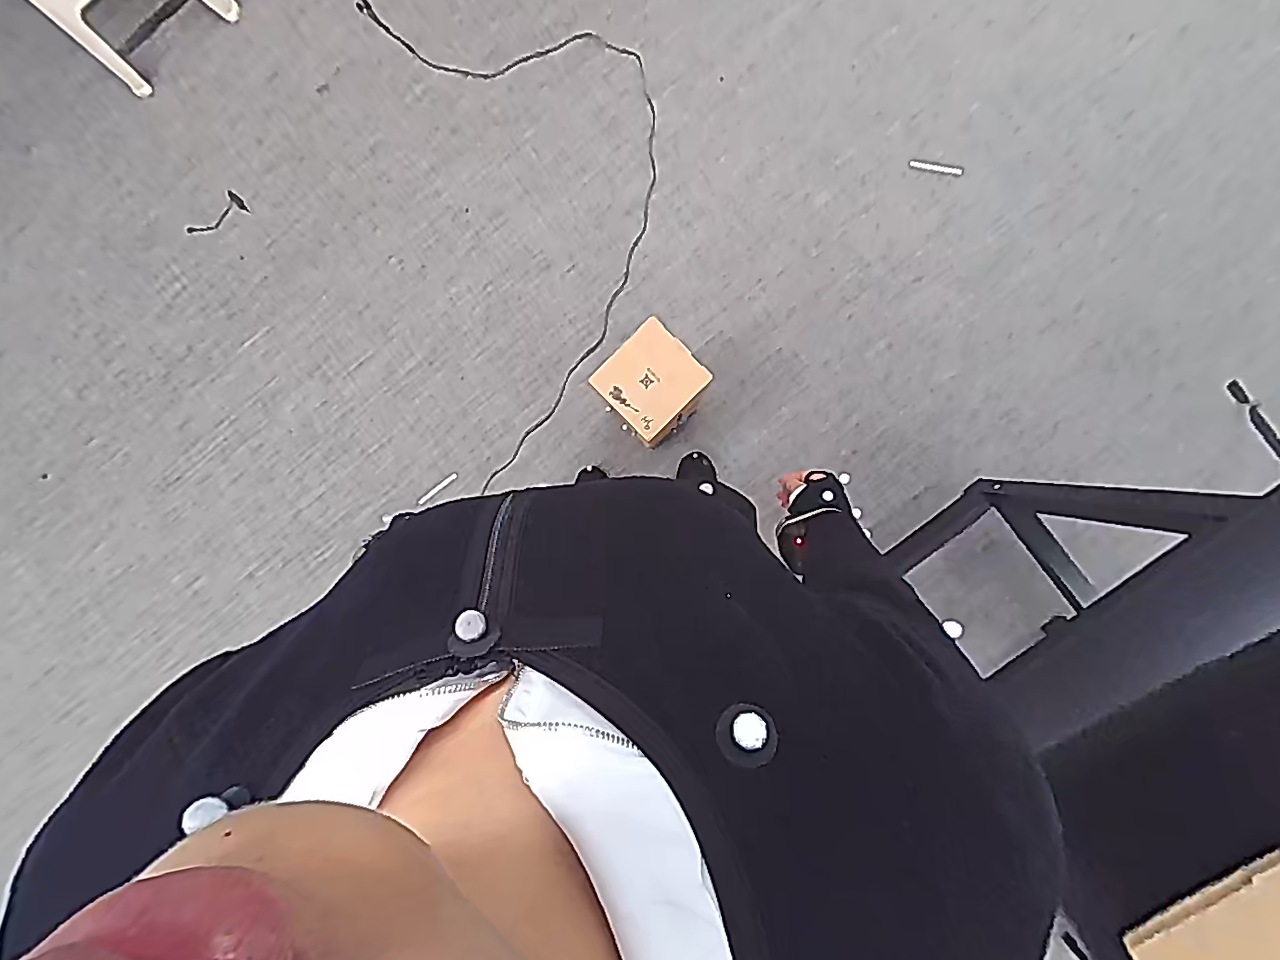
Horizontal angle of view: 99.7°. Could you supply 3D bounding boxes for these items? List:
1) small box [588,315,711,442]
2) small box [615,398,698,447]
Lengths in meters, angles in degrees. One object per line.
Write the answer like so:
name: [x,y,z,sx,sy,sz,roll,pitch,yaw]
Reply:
small box: [0.019,-0.195,1.089,0.179,0.176,0.168,-44,89,2]
small box: [0.030,-0.203,1.417,0.179,0.176,0.168,-42,89,4]
